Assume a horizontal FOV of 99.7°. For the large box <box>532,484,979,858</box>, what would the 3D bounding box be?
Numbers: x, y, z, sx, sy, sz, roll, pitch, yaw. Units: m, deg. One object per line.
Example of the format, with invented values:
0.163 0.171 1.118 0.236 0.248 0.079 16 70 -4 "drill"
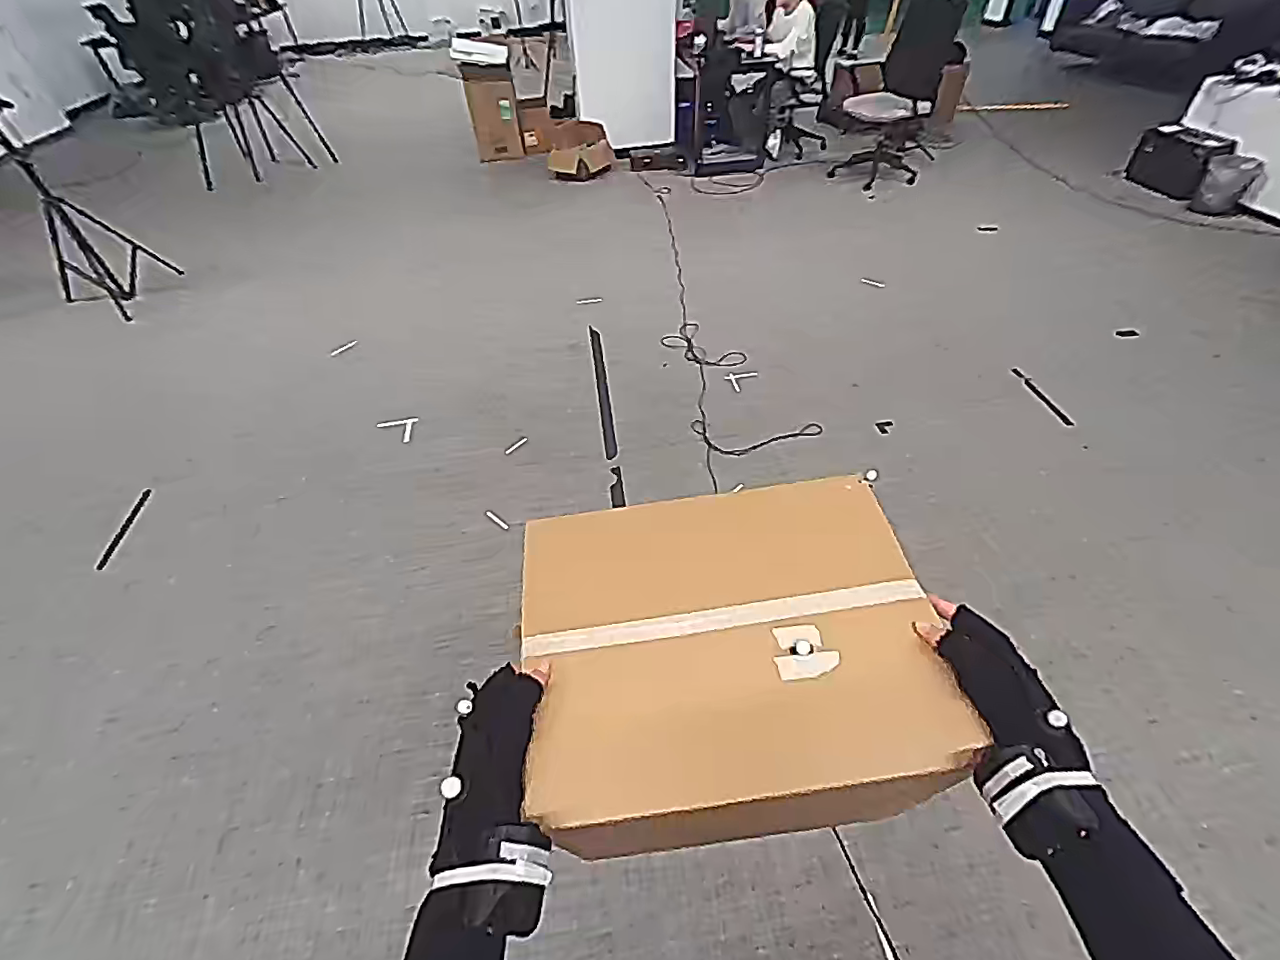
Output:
0.096 0.244 0.677 0.408 0.320 0.320 -8 52 -1 "large box"
